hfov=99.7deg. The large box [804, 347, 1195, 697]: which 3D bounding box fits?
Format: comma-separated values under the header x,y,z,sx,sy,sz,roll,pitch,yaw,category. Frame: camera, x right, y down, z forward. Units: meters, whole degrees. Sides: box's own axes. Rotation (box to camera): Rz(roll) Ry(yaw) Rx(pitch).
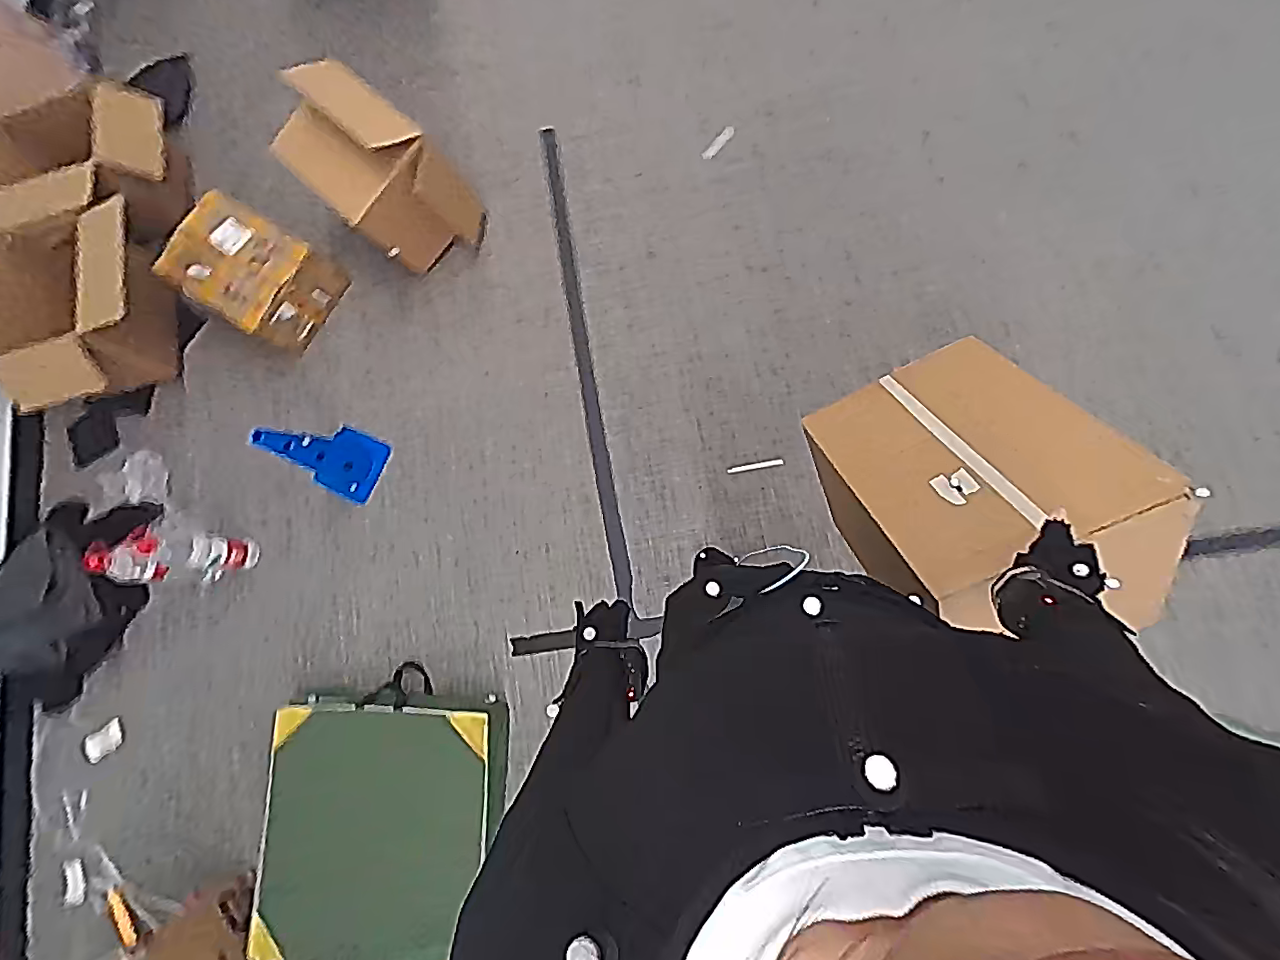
x,y,z,sx,sy,sz,roll,pitch,yaw,category
0.519,0.059,0.875,0.320,0.320,0.408,-27,40,10,large box
